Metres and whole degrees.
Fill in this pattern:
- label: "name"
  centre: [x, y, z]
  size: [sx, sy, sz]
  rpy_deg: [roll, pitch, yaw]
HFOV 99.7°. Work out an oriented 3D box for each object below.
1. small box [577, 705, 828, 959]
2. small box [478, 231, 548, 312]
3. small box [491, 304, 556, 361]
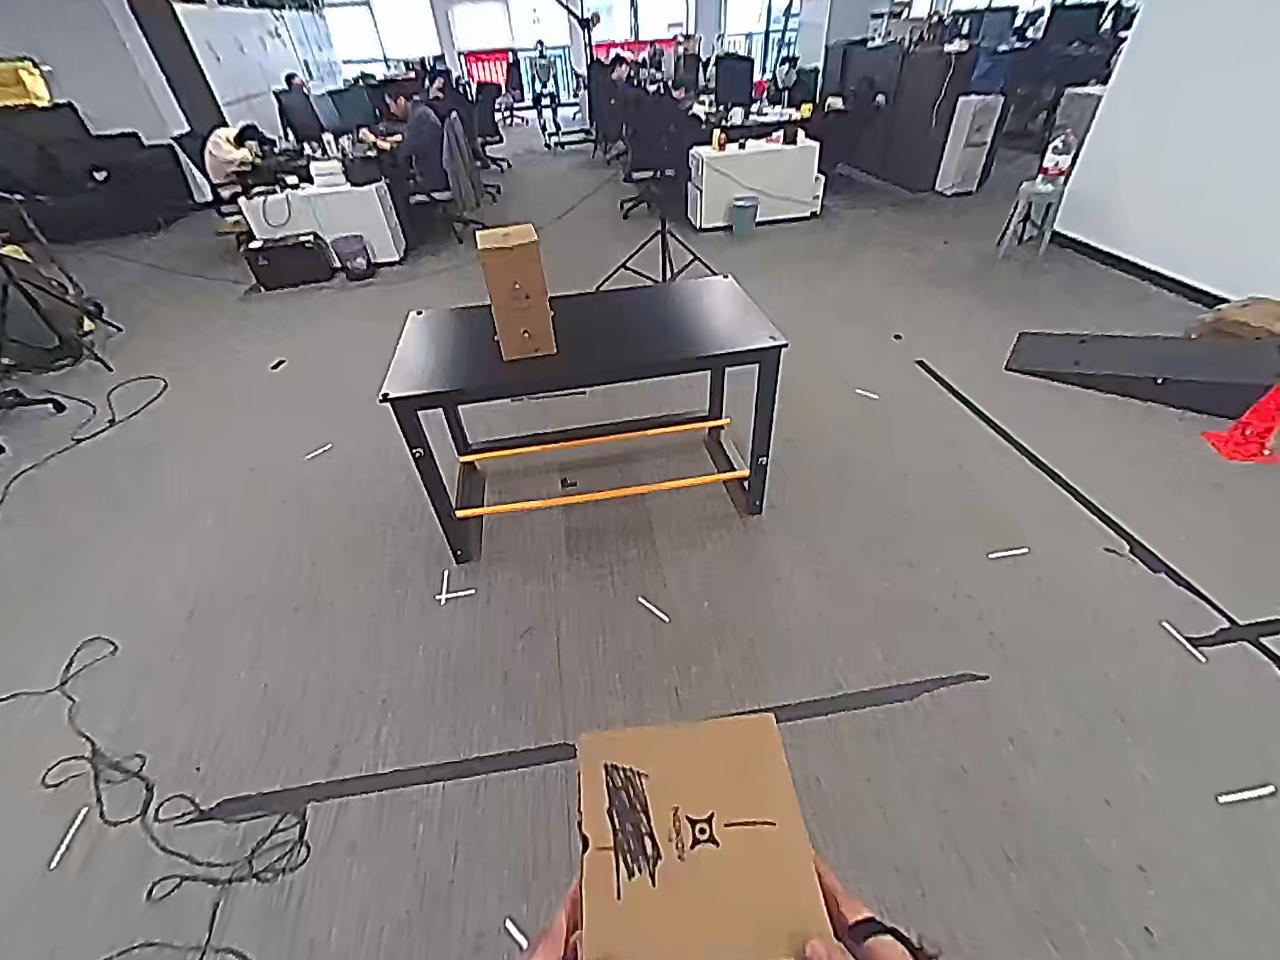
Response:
- label: "small box"
  centre: [0.041, 0.324, 0.480]
  size: [0.179, 0.176, 0.168]
  rpy_deg: [-5, 44, -3]
- label: "small box"
  centre: [-0.373, -0.612, 1.583]
  size: [0.168, 0.176, 0.179]
  rpy_deg: [-13, 41, -9]
- label: "small box"
  centre: [-0.362, -0.482, 1.687]
  size: [0.168, 0.176, 0.179]
  rpy_deg: [-12, 41, -8]
